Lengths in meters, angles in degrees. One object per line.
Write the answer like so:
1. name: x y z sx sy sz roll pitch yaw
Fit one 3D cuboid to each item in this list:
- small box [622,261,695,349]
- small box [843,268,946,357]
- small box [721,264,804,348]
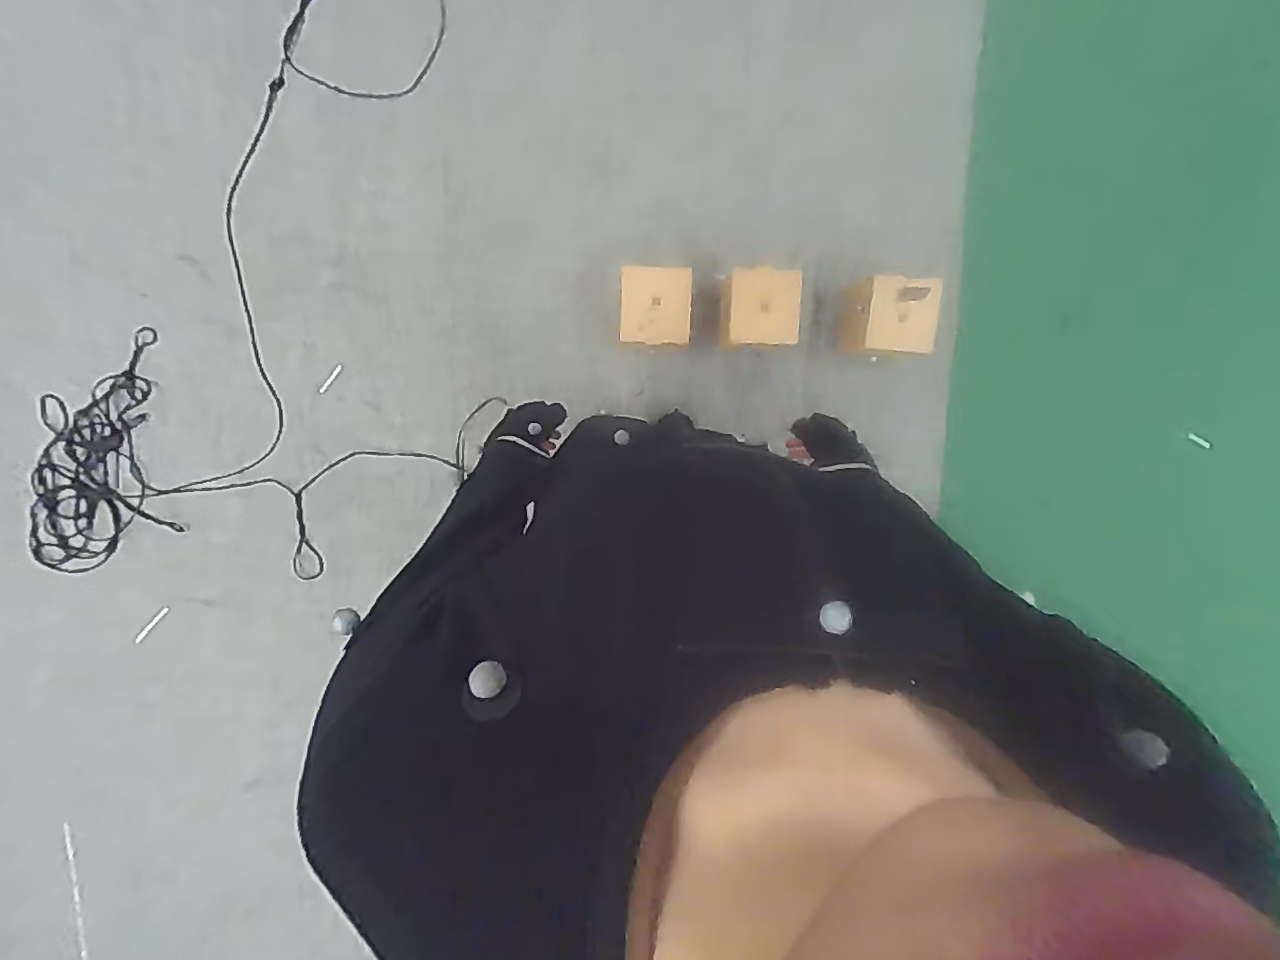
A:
1. small box: 0.042 -0.426 1.338 0.168 0.176 0.179 2 97 1
2. small box: 0.623 -0.409 1.343 0.168 0.176 0.179 5 98 0
3. small box: 0.297 -0.424 1.342 0.168 0.176 0.179 1 97 0
